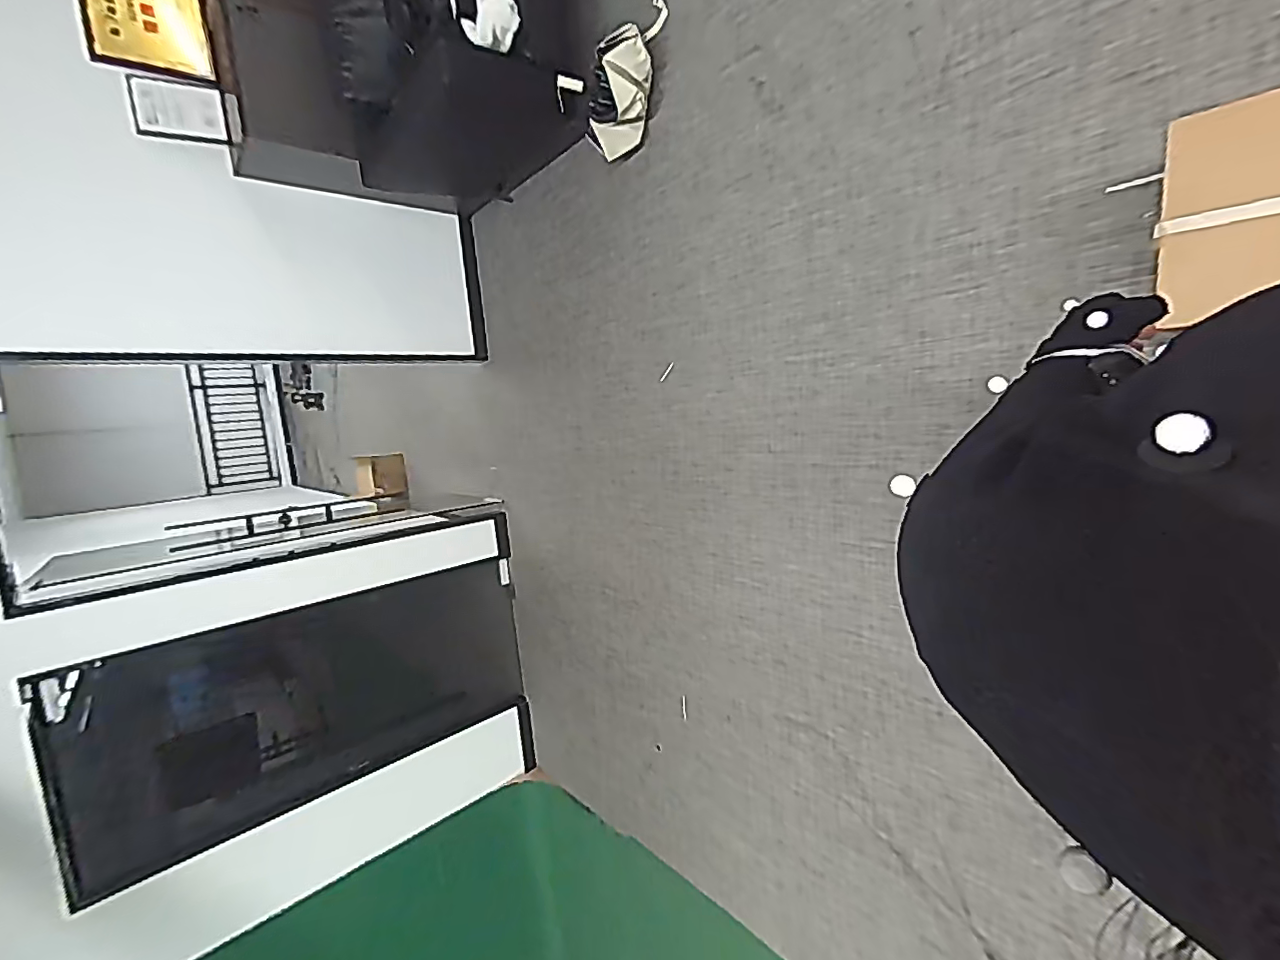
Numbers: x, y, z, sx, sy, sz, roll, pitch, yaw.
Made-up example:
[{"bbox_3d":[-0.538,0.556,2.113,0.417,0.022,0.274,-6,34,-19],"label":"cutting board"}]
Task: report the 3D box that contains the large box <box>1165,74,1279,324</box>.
[{"bbox_3d":[1.068,-0.424,0.793,0.408,0.320,0.320,6,103,49],"label":"large box"}]
